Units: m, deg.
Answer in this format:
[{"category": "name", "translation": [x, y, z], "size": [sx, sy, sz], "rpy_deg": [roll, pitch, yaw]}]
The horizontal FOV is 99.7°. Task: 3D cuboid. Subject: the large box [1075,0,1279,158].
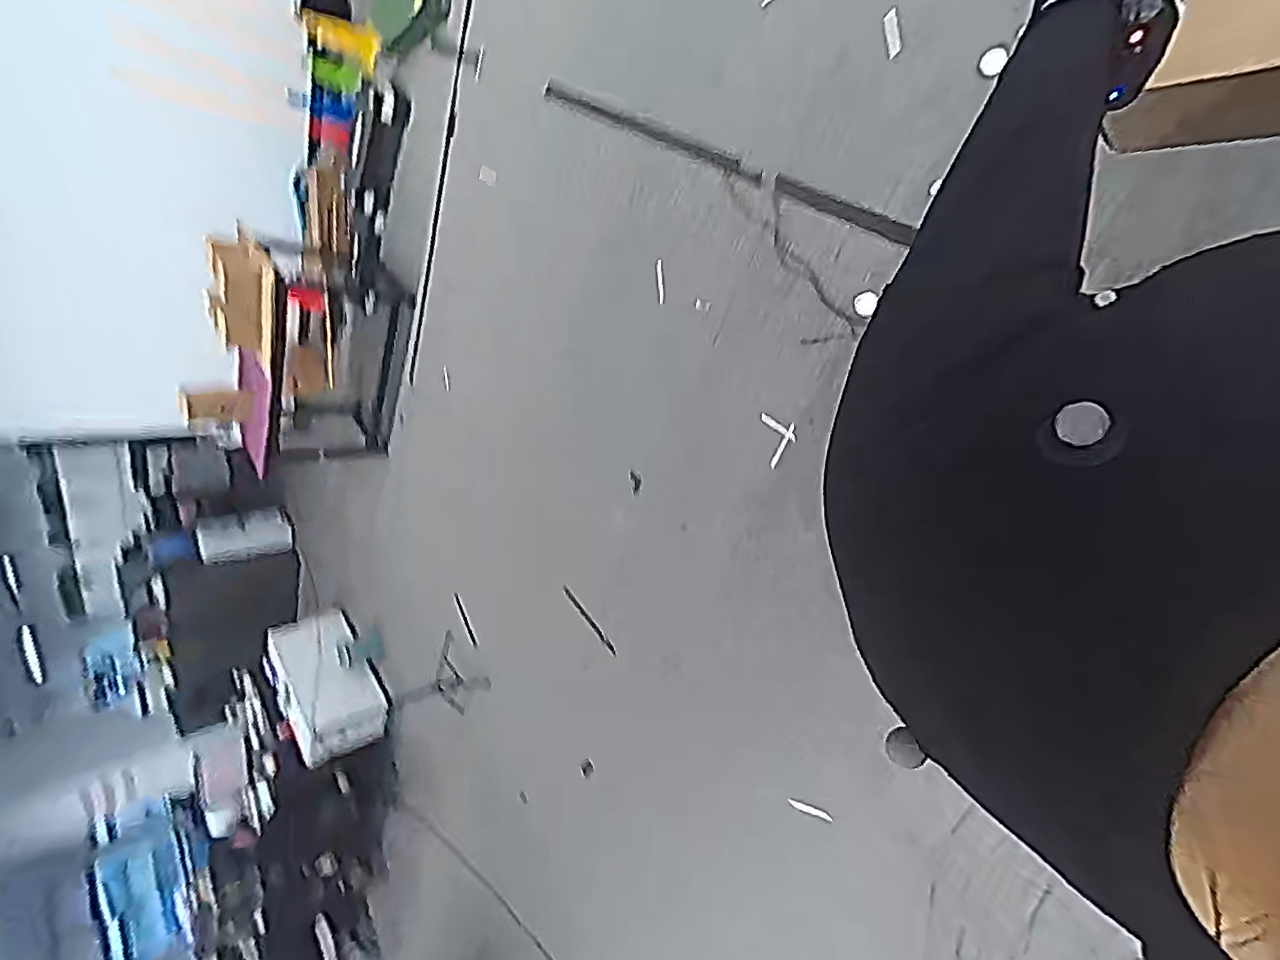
[{"category": "large box", "translation": [0.619, -0.462, 0.393], "size": [0.408, 0.320, 0.320], "rpy_deg": [16, 114, 40]}]
